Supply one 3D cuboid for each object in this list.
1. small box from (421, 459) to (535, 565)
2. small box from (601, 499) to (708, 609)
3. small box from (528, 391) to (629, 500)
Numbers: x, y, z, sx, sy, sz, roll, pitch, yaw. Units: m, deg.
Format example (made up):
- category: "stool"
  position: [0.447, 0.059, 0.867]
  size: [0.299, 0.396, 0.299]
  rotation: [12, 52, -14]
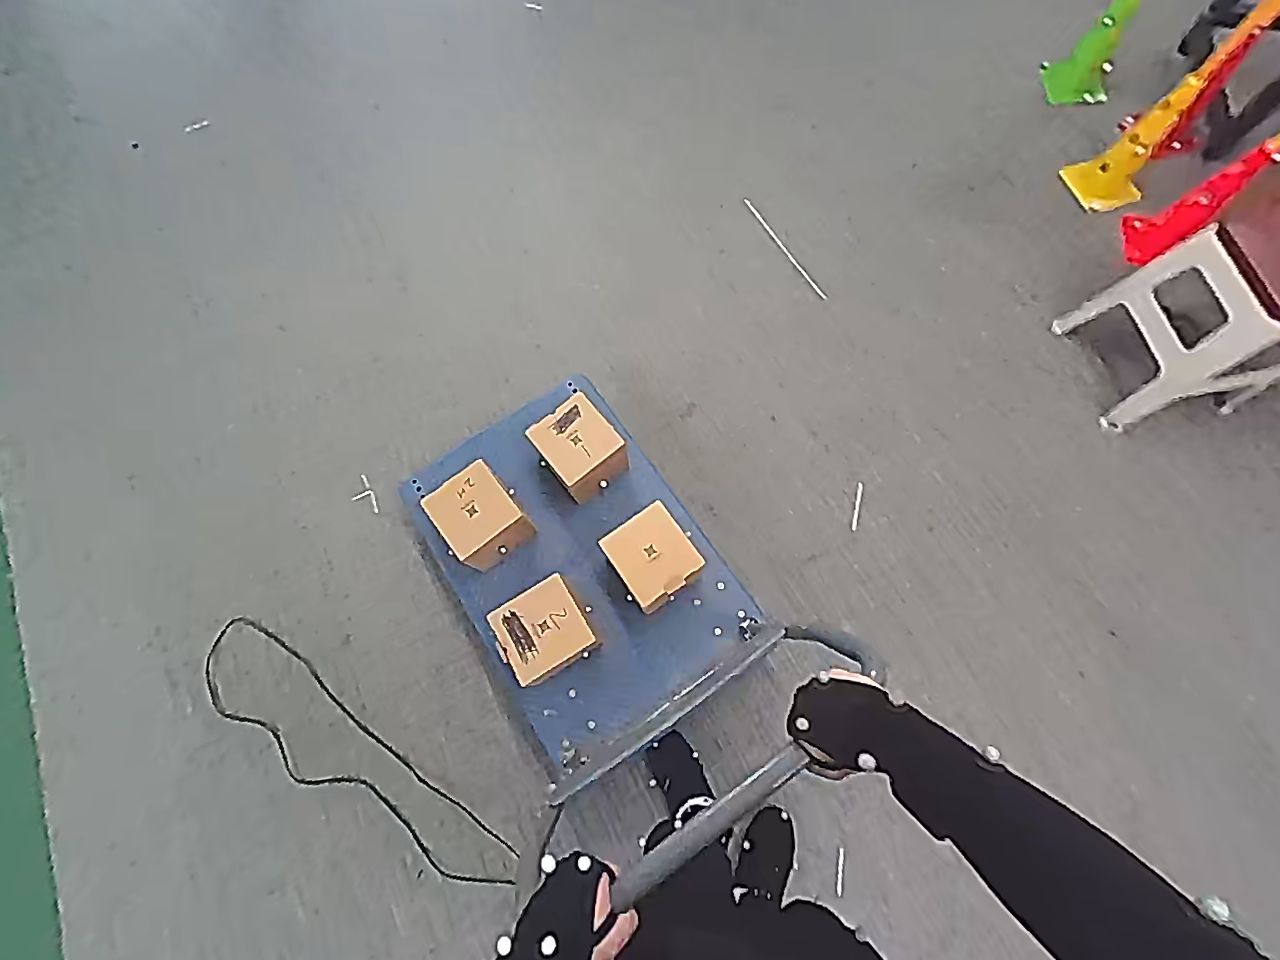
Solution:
- category: "small box"
  position: [-0.367, 0.084, 1.264]
  size: [0.168, 0.176, 0.179]
  rotation: [-37, 75, -10]
- category: "small box"
  position: [0.031, 0.175, 1.224]
  size: [0.168, 0.176, 0.179]
  rotation: [-35, 75, -8]
- category: "small box"
  position: [-0.143, -0.076, 1.307]
  size: [0.168, 0.176, 0.179]
  rotation: [-38, 76, -9]
